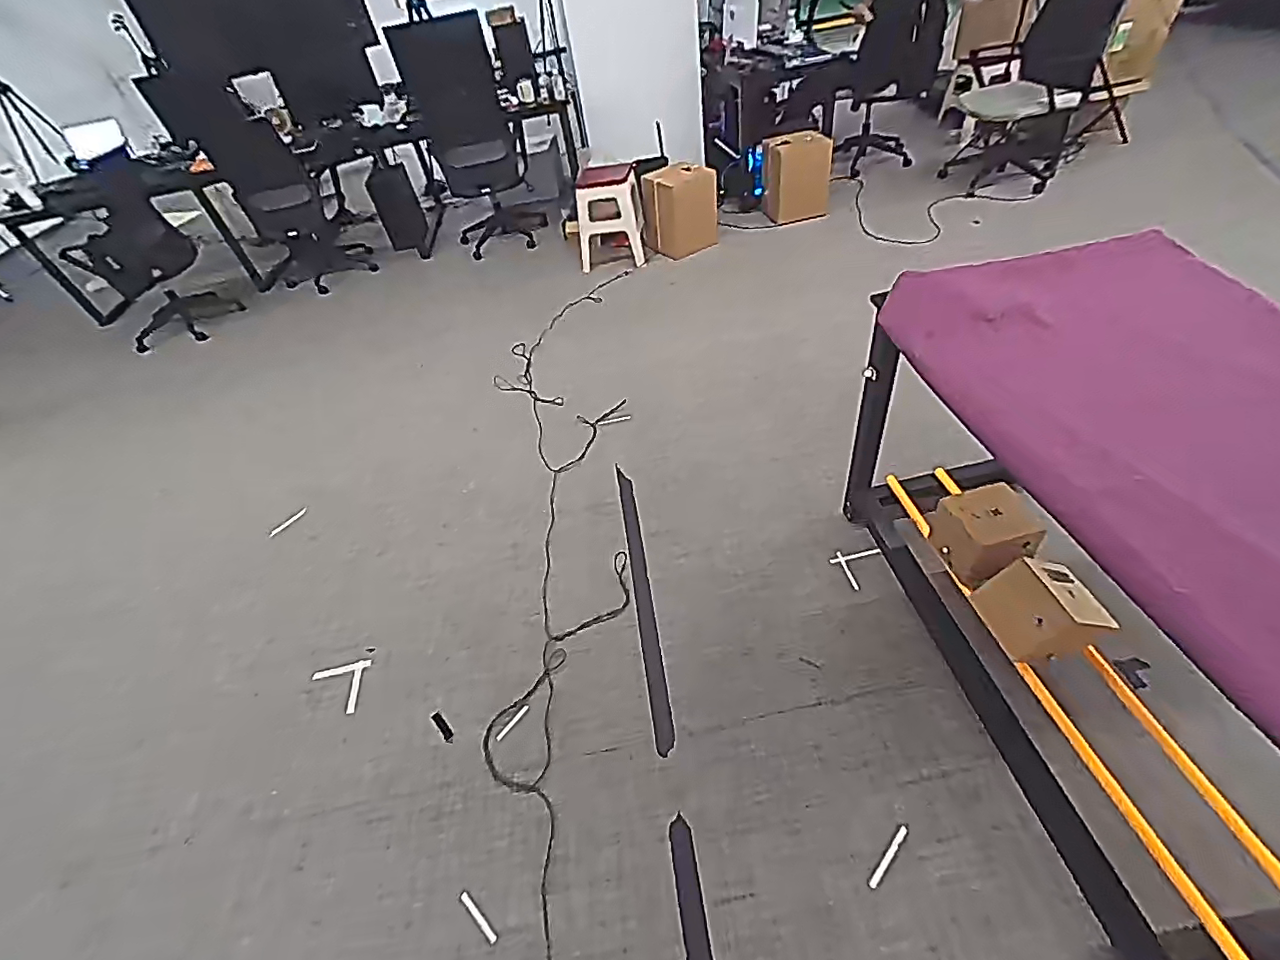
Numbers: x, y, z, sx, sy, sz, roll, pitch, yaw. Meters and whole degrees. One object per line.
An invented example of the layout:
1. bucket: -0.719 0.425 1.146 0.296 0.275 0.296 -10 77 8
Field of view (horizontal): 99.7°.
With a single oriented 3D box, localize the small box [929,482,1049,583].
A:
1. small box: 0.872 0.135 1.373 0.179 0.176 0.168 -15 44 -1
